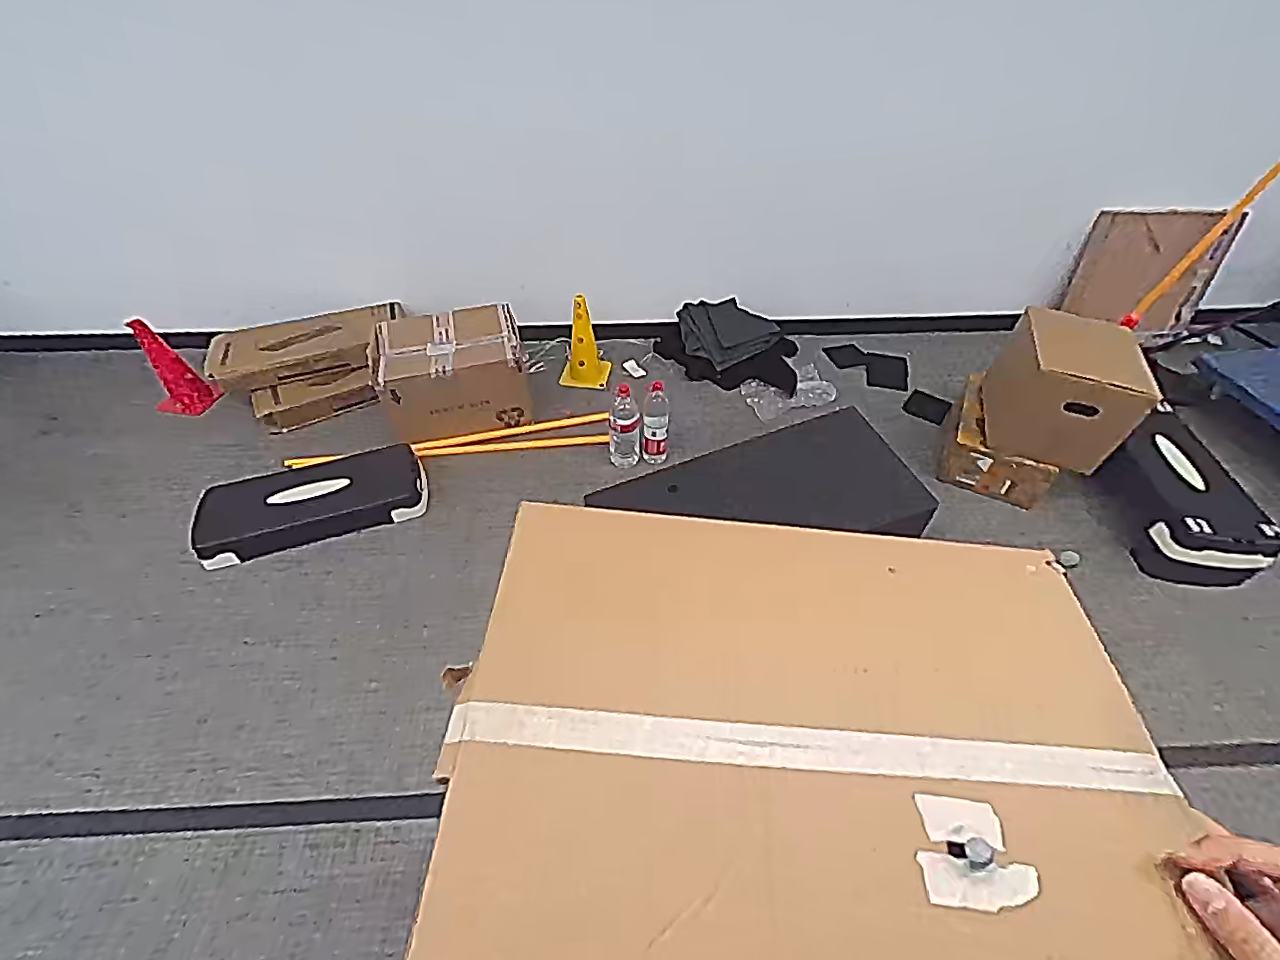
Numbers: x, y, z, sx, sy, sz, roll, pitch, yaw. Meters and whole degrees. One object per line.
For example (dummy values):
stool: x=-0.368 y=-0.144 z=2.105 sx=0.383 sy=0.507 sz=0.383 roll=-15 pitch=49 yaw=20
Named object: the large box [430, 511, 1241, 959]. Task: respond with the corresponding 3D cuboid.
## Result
large box: x=0.090 y=0.252 z=0.431 sx=0.408 sy=0.320 sz=0.320 roll=6 pitch=50 yaw=-3
